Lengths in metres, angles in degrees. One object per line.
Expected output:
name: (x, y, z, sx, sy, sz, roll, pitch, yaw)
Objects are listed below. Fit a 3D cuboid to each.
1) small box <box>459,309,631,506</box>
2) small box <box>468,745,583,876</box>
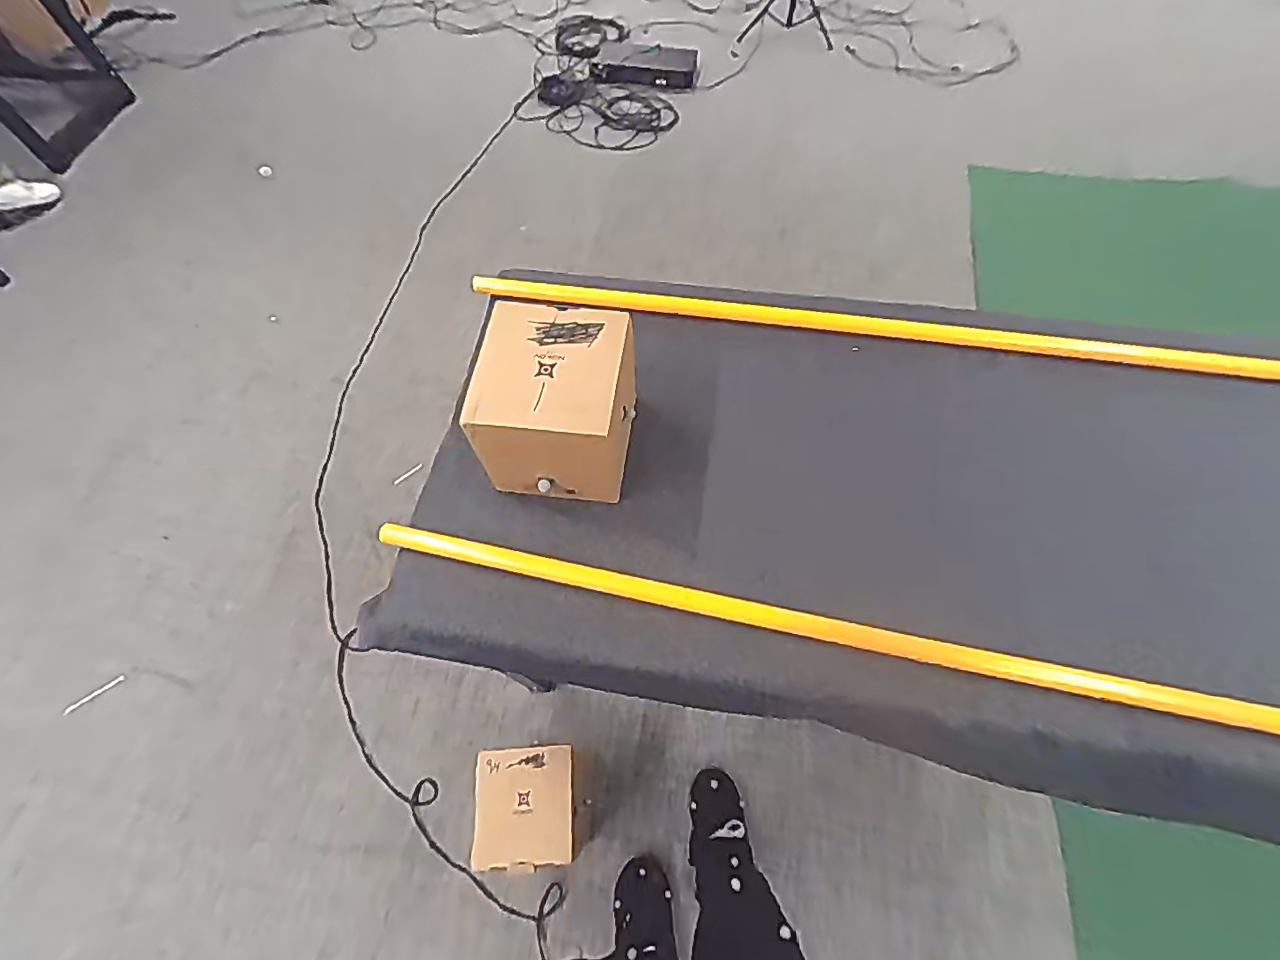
small box: (-0.103, -0.087, 0.685, 0.168, 0.176, 0.179, 6, 63, 5)
small box: (-0.198, 0.584, 0.974, 0.168, 0.176, 0.179, -8, 62, 0)
